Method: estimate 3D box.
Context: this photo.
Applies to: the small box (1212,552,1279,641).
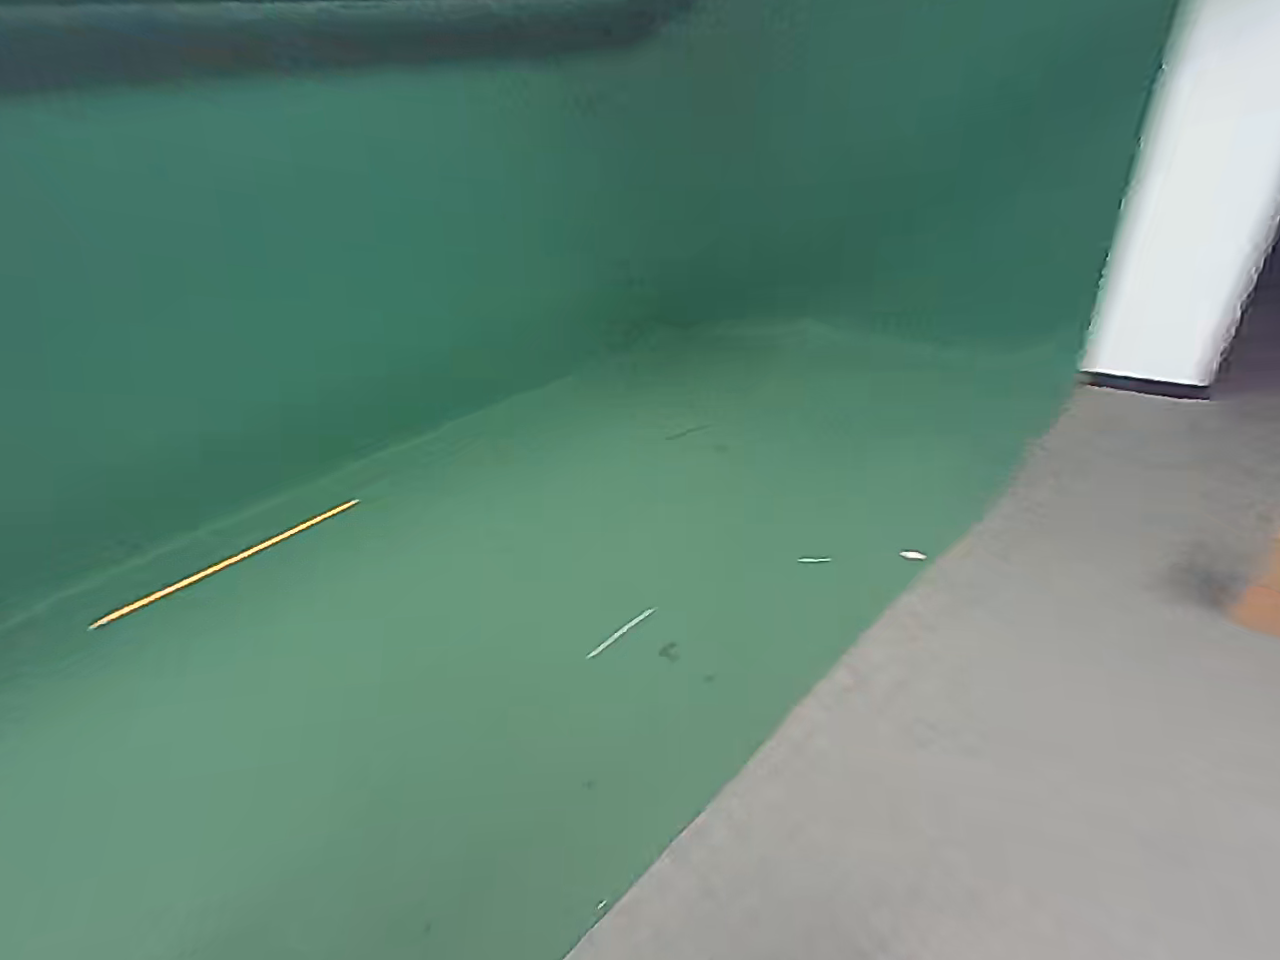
[{"bbox_3d":[1.896,0.356,1.625,0.168,0.176,0.179,-28,36,-25],"label":"small box"}]
